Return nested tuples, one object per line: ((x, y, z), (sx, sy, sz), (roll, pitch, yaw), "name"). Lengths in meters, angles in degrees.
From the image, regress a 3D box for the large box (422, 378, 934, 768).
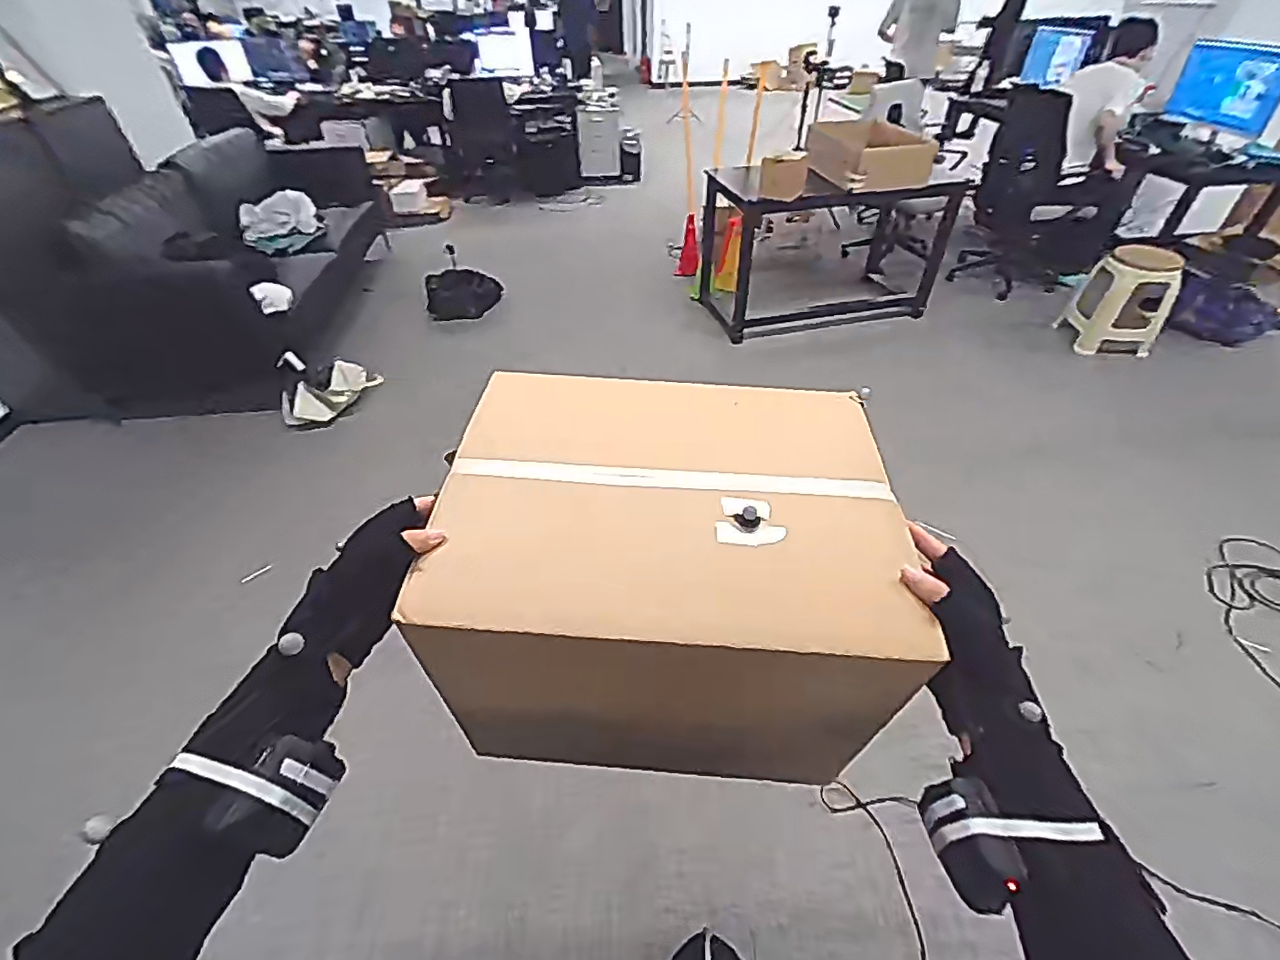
((0.029, 0.108, 0.620), (0.408, 0.320, 0.320), (5, 47, 1), "large box")
